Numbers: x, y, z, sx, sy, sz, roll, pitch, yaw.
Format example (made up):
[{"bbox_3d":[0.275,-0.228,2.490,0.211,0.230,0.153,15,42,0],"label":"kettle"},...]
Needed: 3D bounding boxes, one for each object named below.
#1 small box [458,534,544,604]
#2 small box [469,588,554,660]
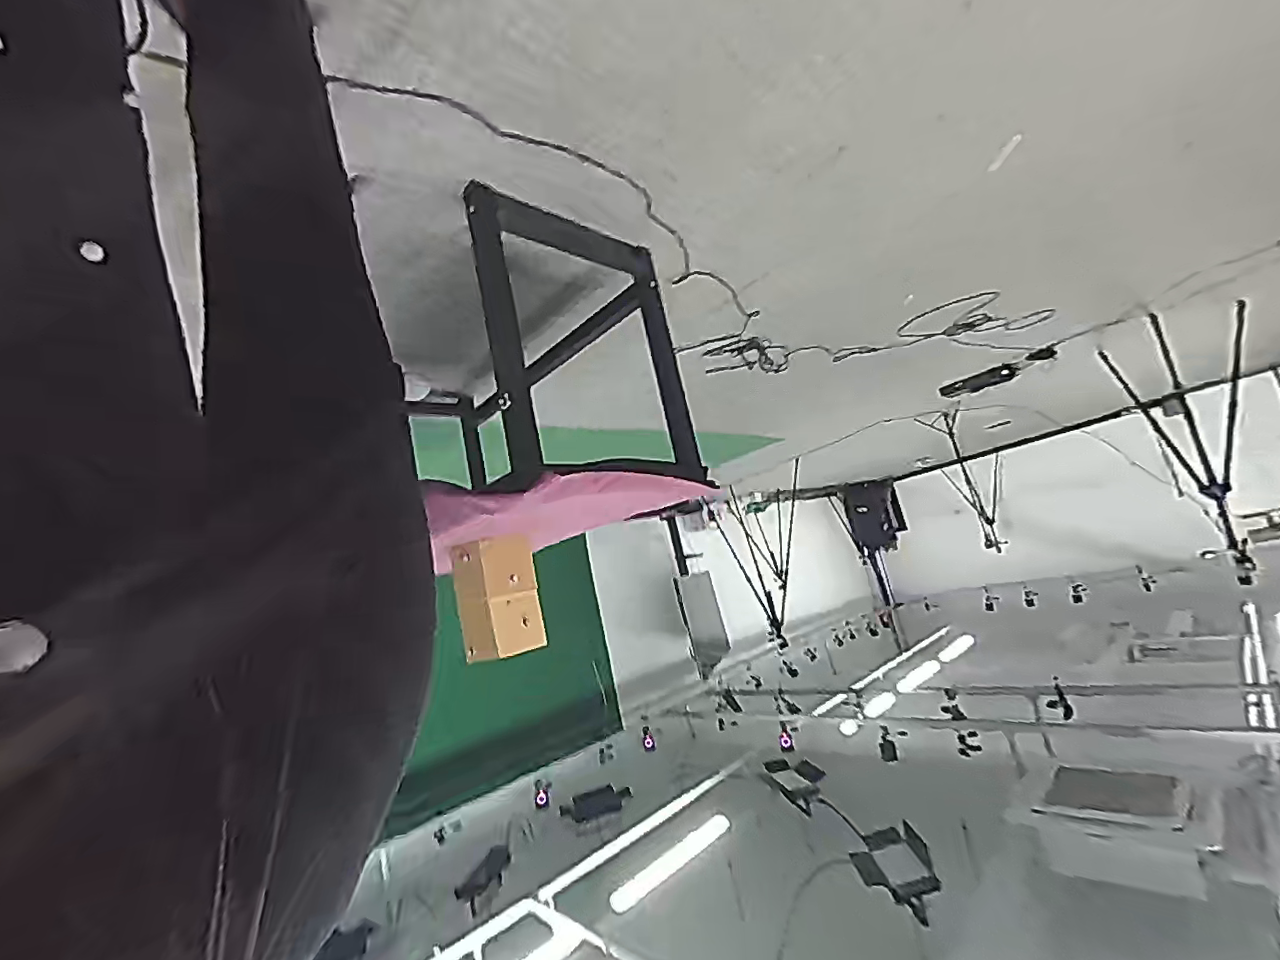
[{"bbox_3d":[-0.417,0.261,1.616,0.168,0.176,0.179,-23,165,39],"label":"small box"},{"bbox_3d":[-0.383,0.418,1.593,0.179,0.176,0.168,-23,166,41],"label":"small box"}]
